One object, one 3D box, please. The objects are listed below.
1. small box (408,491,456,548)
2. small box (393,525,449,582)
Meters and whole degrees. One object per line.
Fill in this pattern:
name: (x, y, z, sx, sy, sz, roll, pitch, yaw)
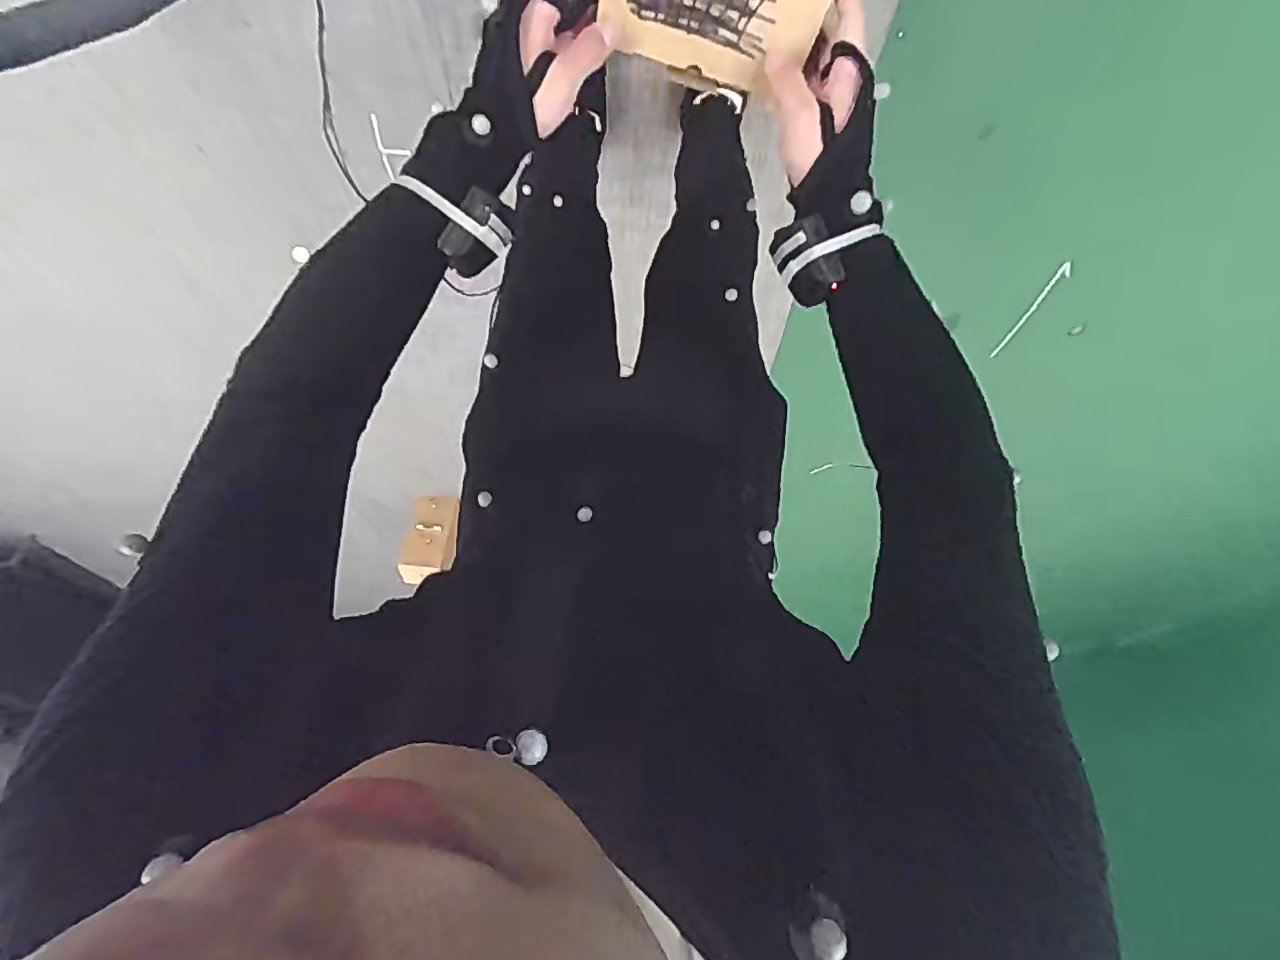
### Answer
small box: (-0.886, 0.170, 2.315, 0.168, 0.176, 0.179, 8, 144, -14)
small box: (-0.896, 0.303, 2.226, 0.168, 0.176, 0.179, 7, 145, -8)
